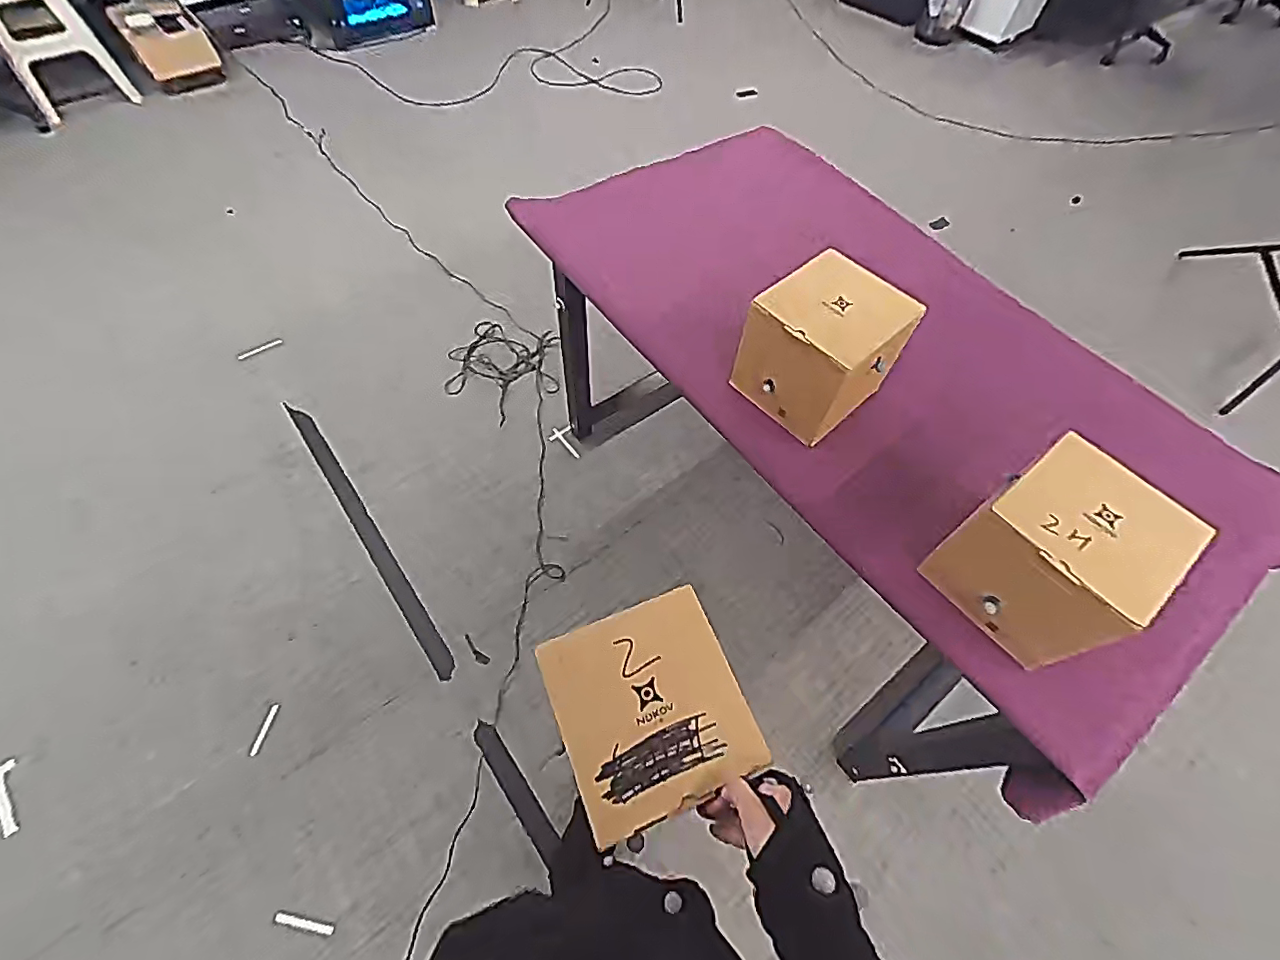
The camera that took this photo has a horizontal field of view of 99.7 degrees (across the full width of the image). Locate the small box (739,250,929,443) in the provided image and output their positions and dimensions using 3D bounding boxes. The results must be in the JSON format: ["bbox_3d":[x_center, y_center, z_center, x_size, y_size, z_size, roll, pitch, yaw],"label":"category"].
[{"bbox_3d":[0.267,-0.189,0.785,0.179,0.176,0.168,-38,68,-21],"label":"small box"}]

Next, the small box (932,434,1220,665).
[{"bbox_3d":[0.486,0.085,0.632,0.179,0.176,0.168,-34,65,-21],"label":"small box"}]
